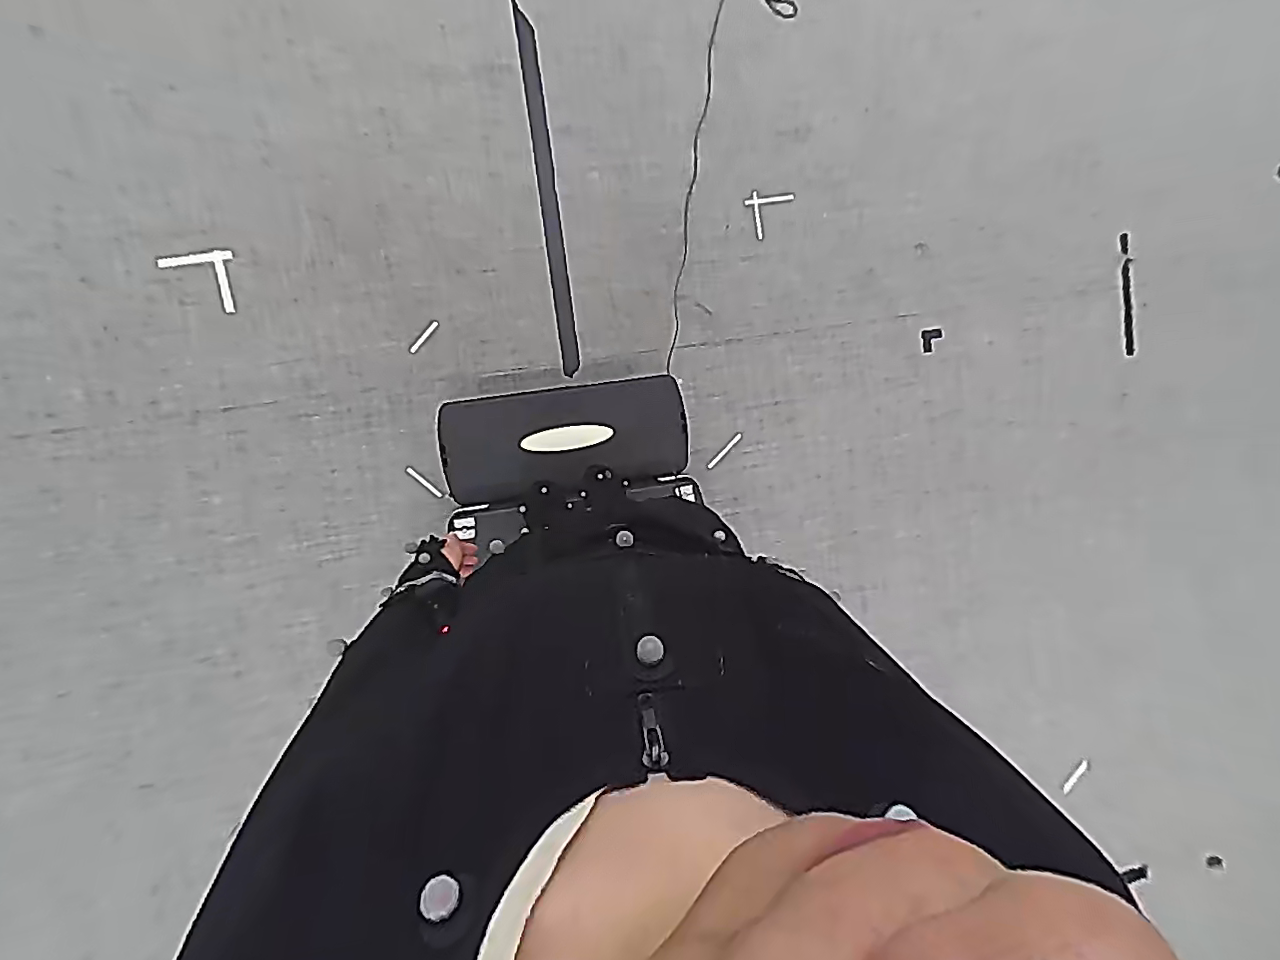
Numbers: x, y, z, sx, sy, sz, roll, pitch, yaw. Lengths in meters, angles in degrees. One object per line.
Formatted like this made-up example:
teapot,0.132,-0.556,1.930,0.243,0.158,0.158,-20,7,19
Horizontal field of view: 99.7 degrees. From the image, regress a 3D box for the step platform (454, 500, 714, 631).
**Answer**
step platform,-0.143,0.222,1.462,0.684,0.204,0.286,-4,91,-7
